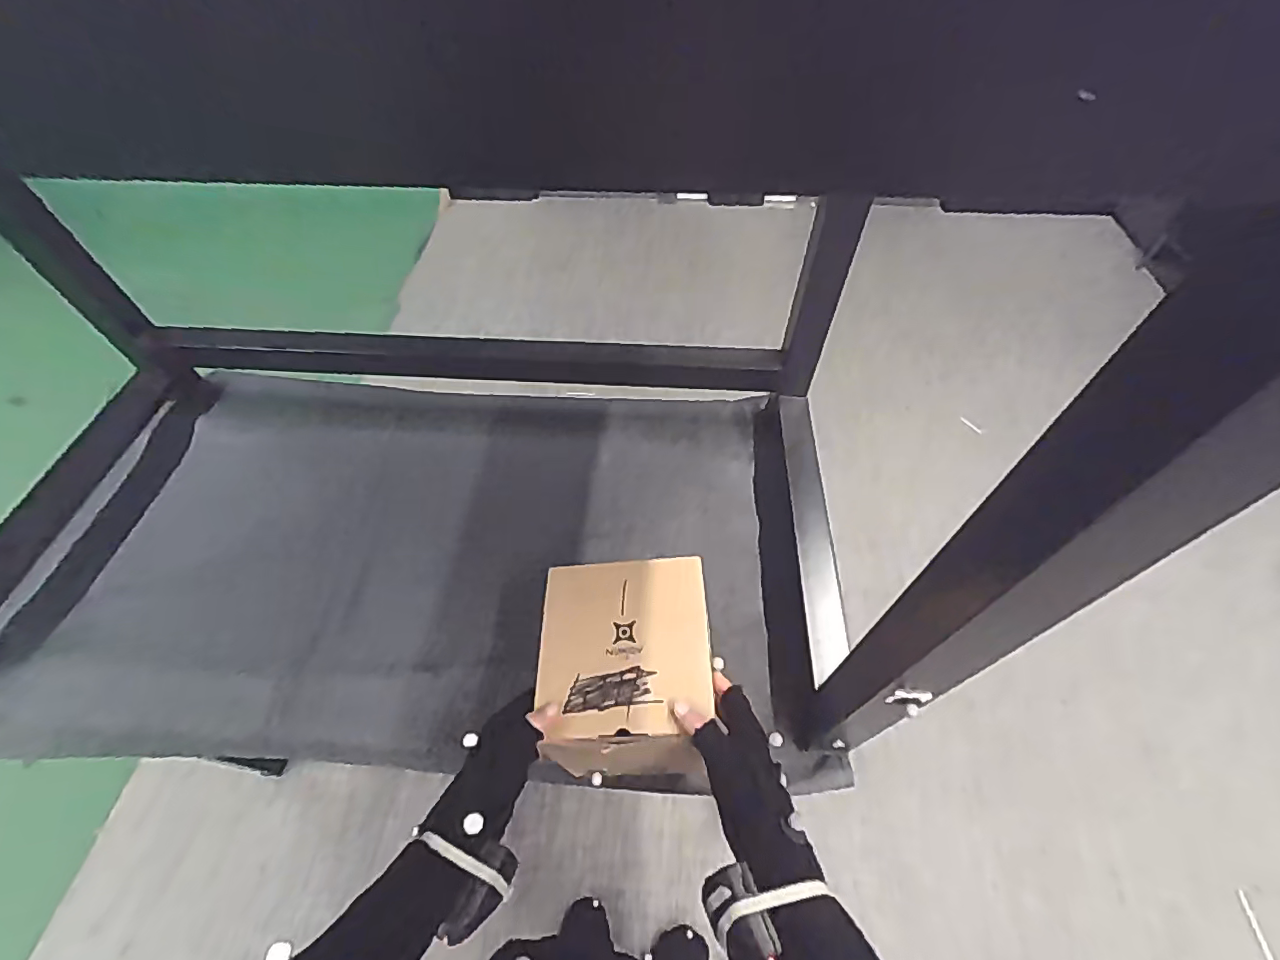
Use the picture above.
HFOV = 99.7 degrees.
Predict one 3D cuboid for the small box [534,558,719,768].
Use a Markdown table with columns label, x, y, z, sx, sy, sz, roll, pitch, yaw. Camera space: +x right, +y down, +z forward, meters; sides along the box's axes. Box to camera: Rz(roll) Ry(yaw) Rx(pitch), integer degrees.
| label | x | y | z | sx | sy | sz | roll | pitch | yaw |
| --- | --- | --- | --- | --- | --- | --- | --- | --- | --- |
| small box | -0.004 | 0.206 | 0.591 | 0.168 | 0.176 | 0.179 | -5 | 51 | 6 |
